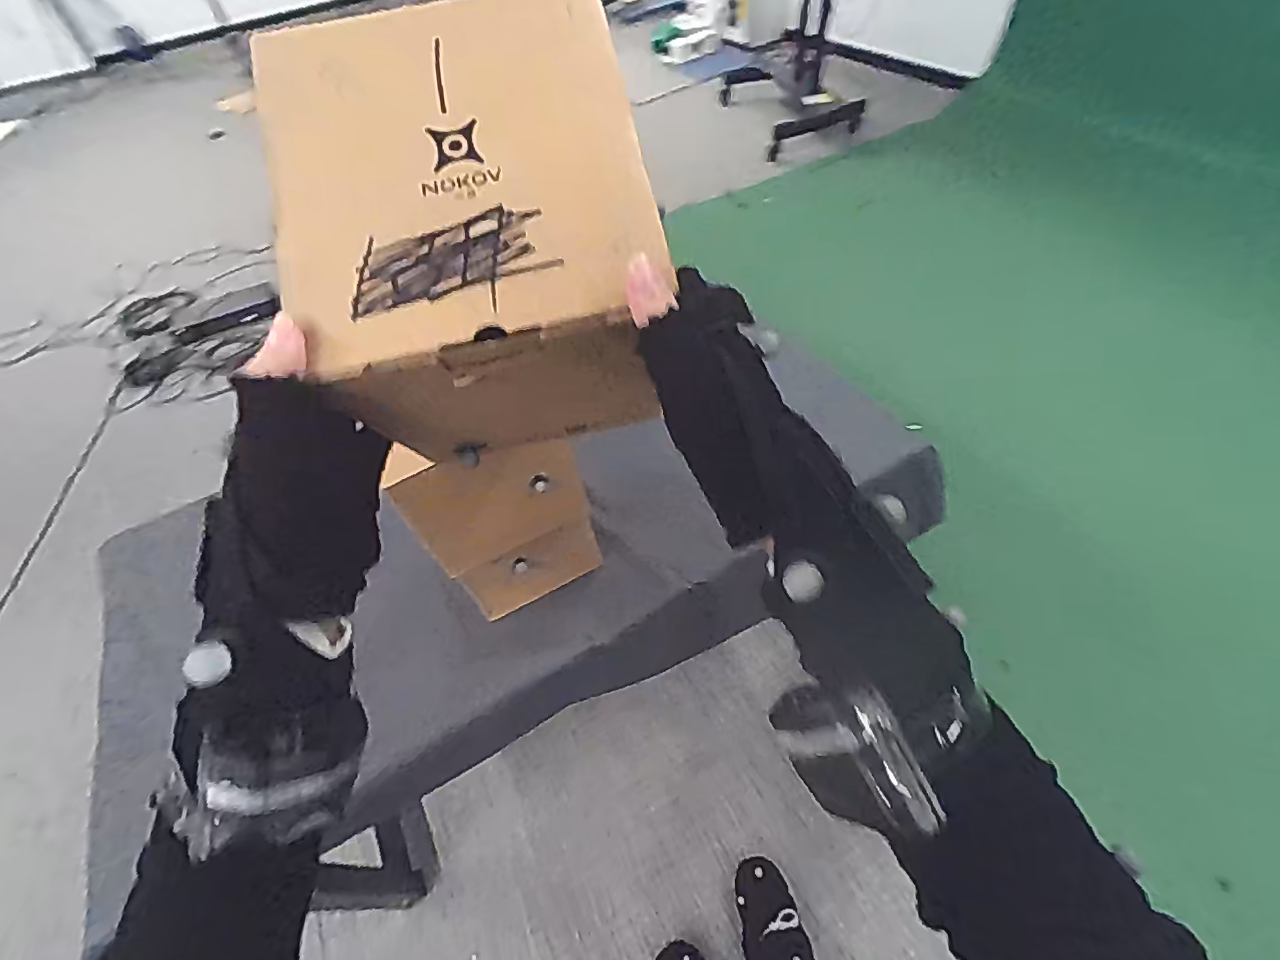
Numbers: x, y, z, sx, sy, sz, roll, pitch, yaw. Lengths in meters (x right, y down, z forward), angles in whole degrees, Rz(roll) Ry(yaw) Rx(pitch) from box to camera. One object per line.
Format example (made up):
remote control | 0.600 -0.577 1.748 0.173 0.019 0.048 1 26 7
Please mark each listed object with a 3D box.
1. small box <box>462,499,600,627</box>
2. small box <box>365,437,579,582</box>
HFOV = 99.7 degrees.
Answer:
small box | -0.177 0.074 0.759 0.179 0.176 0.168 -29 52 -16
small box | -0.181 -0.022 0.603 0.179 0.176 0.168 -29 53 -17
